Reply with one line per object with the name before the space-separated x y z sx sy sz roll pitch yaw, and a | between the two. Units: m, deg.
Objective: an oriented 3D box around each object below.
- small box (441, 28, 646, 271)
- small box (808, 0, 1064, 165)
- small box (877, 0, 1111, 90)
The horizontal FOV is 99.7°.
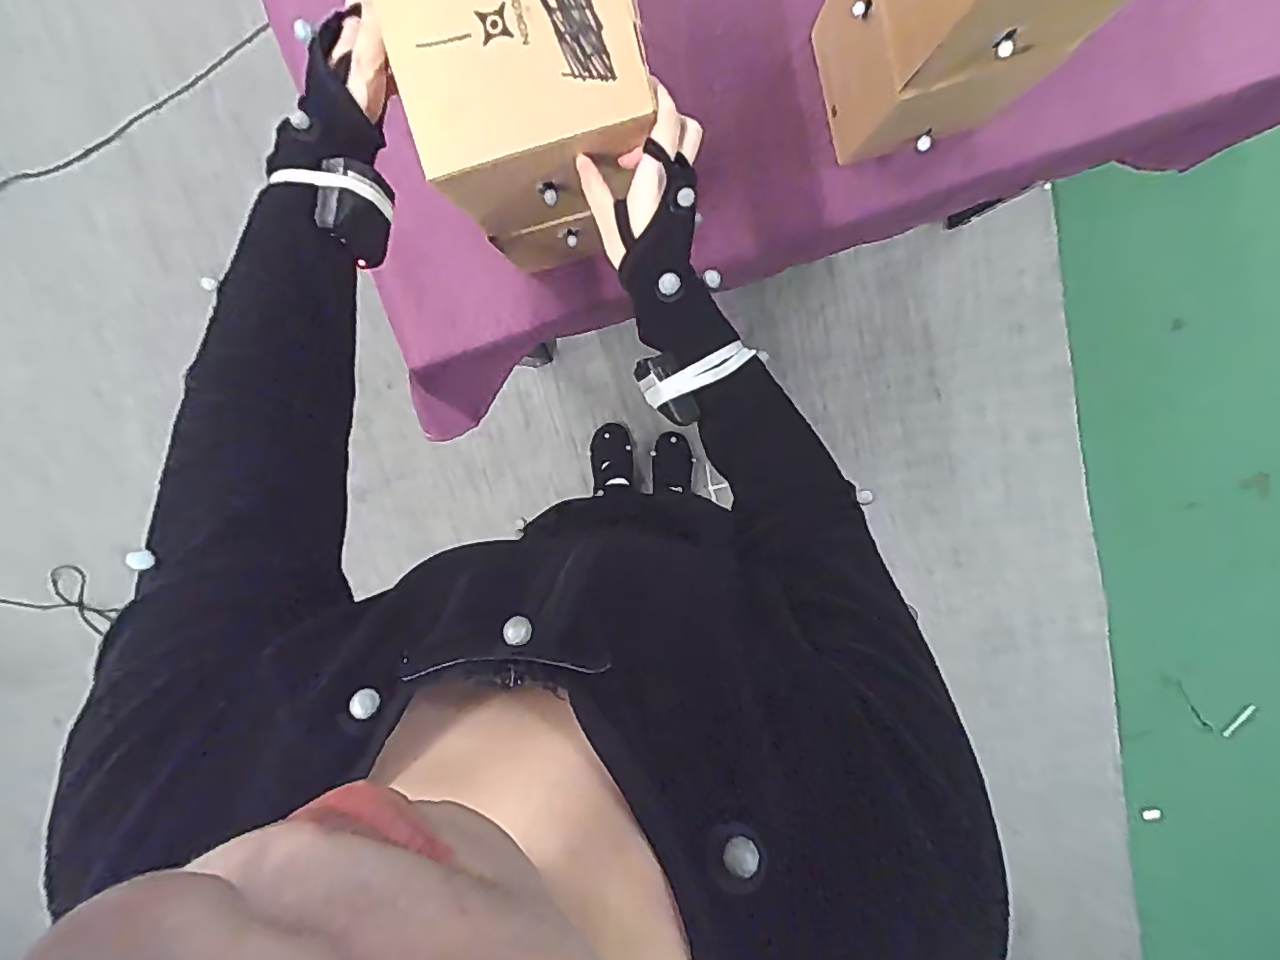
small box | -0.094 -0.355 0.620 0.179 0.176 0.168 -14 100 3
small box | 0.307 -0.481 0.592 0.179 0.176 0.168 -15 99 3
small box | 0.299 -0.463 0.429 0.168 0.176 0.179 -14 100 4
